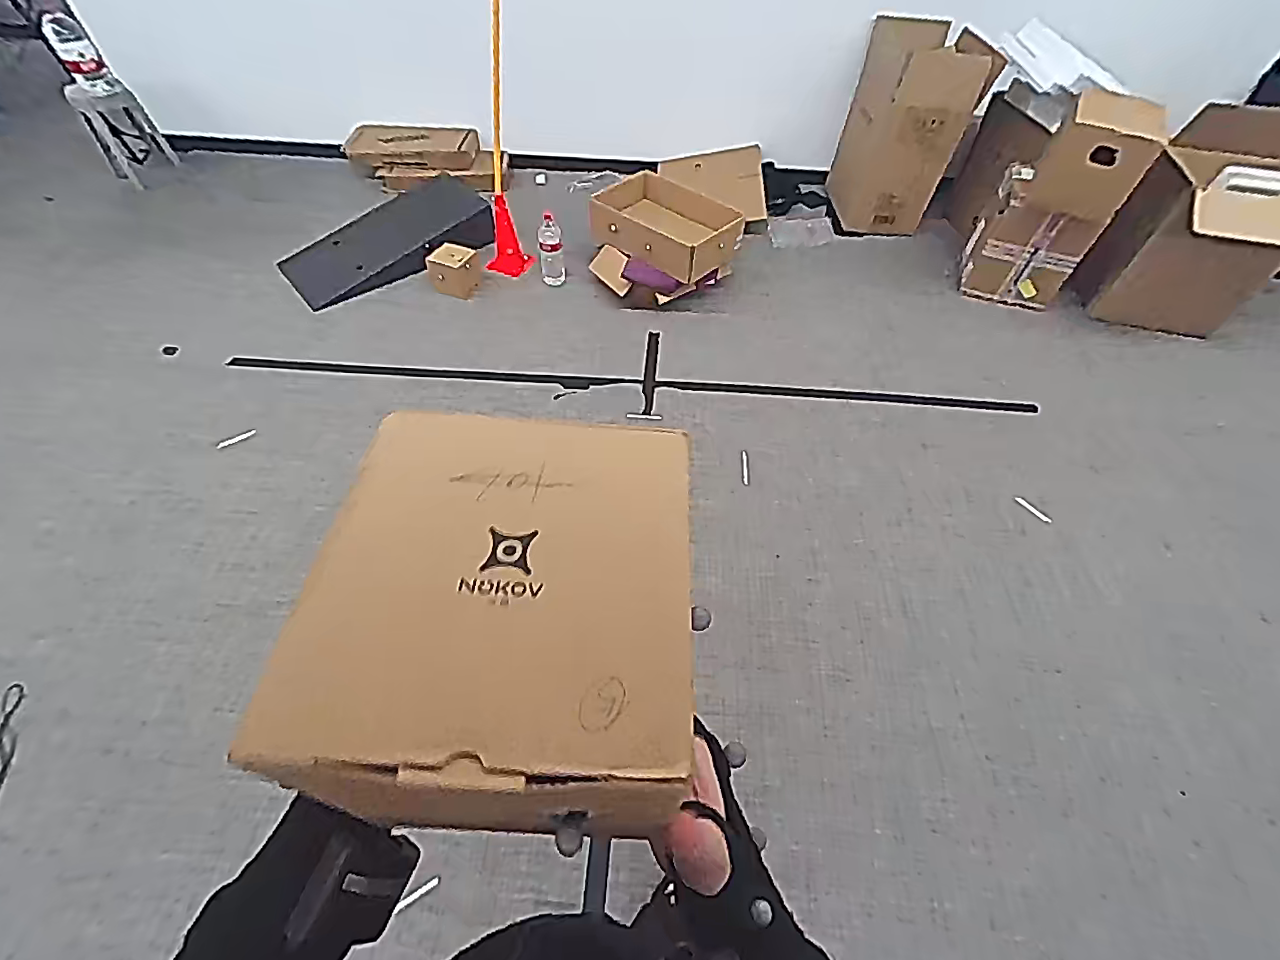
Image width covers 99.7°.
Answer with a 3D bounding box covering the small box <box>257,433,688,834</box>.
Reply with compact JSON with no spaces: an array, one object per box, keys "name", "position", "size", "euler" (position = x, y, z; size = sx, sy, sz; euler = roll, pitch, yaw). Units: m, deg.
[{"name":"small box","position":[-0.064,0.095,0.315],"size":[0.168,0.176,0.179],"euler":[3,51,-2]}]
